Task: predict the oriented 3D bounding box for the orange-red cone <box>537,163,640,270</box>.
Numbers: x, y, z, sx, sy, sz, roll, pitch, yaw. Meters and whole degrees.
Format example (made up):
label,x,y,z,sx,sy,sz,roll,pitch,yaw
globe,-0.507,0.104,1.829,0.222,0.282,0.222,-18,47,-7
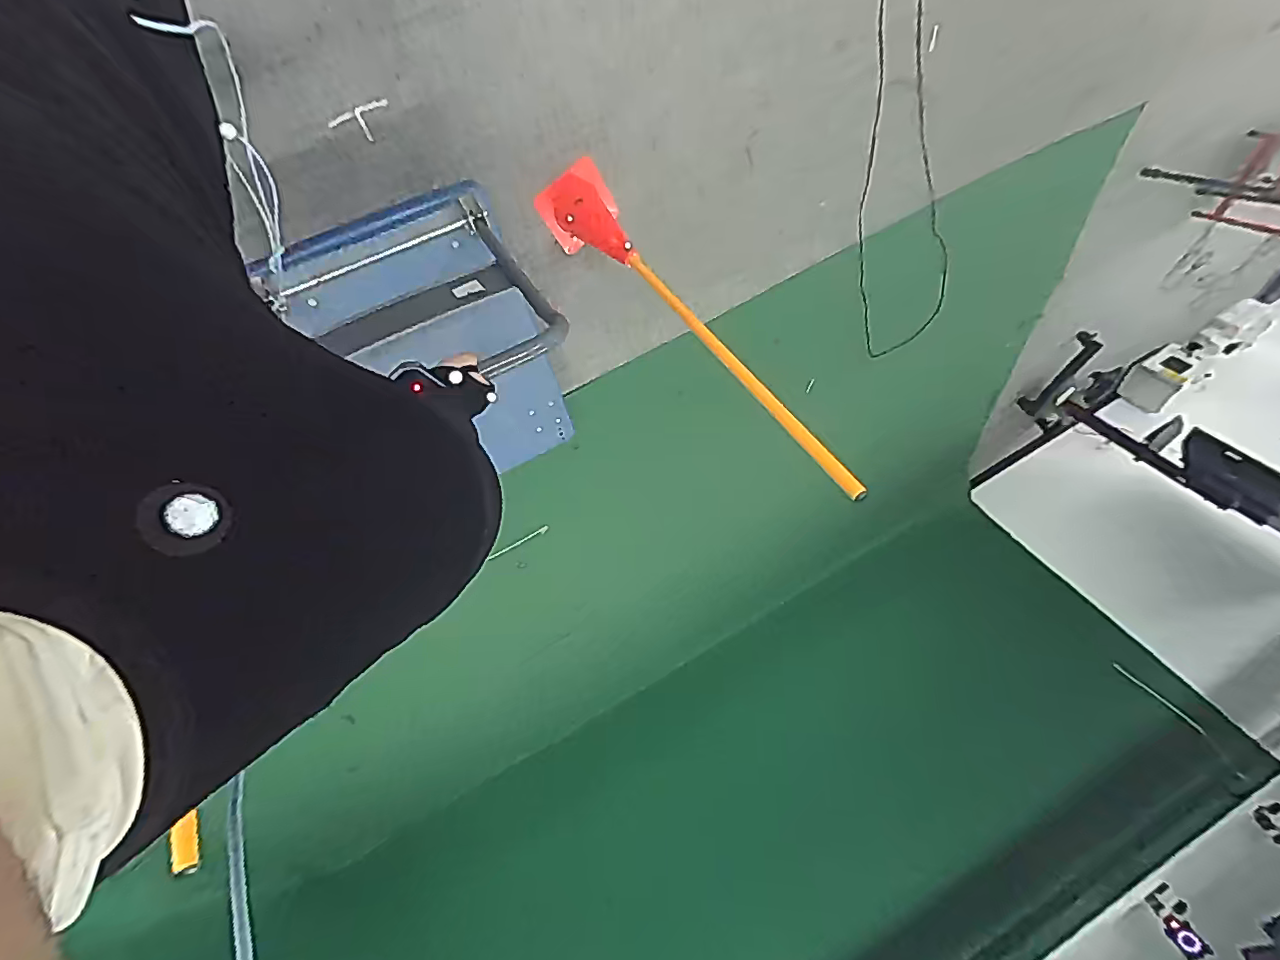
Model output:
label,x,y,z,sx,sy,sz,roll,pitch,yaw
orange-red cone,-0.097,-0.659,1.447,0.199,0.360,0.198,-39,144,3
